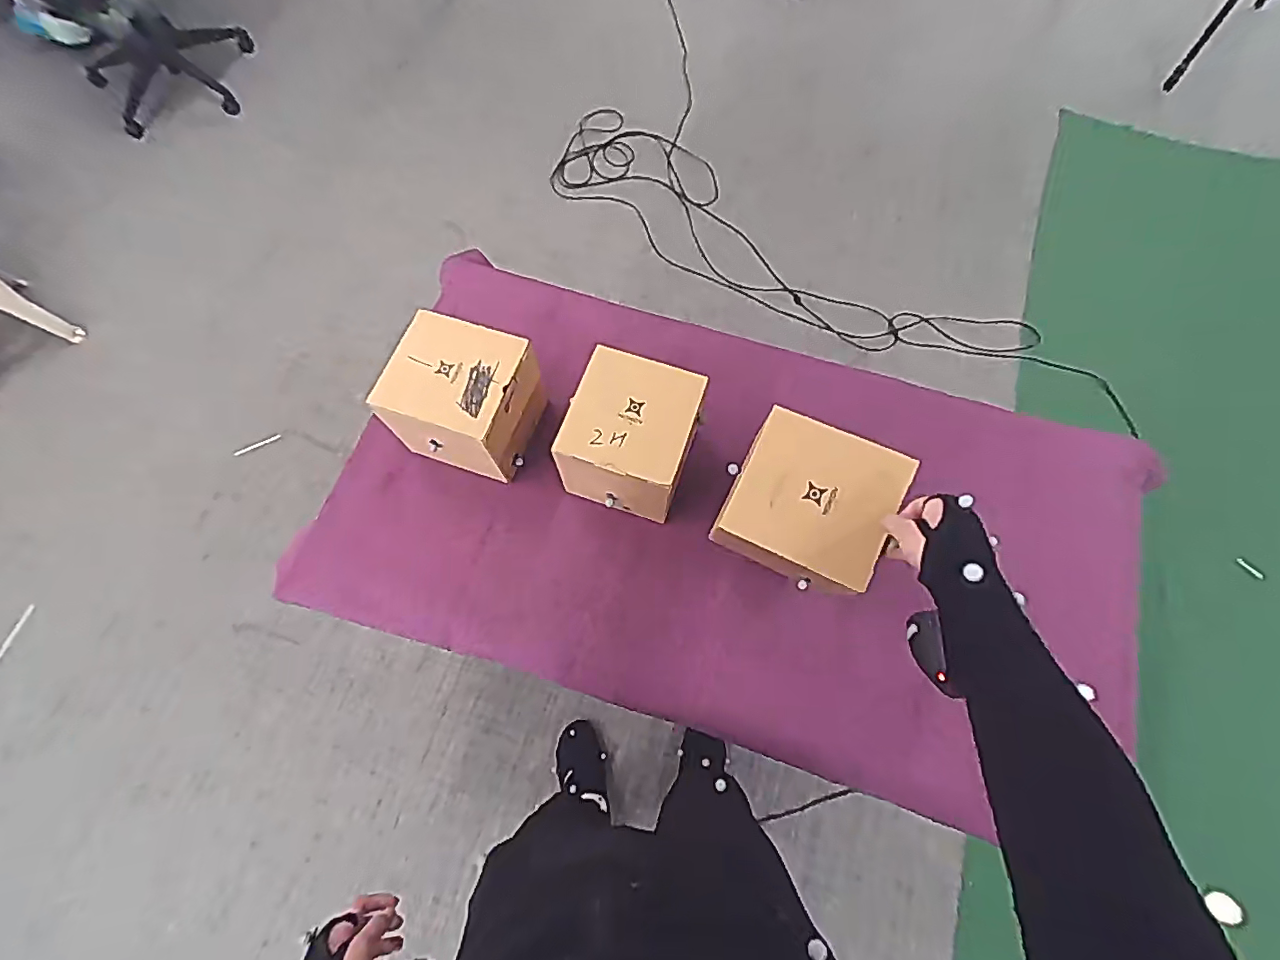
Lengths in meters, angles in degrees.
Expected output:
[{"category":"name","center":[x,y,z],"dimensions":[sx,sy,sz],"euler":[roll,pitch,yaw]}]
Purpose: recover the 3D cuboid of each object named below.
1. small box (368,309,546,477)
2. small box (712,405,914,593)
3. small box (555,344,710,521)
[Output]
[{"category":"small box","center":[-0.257,-0.120,0.812],"dimensions":[0.179,0.176,0.168],"euler":[18,71,7]},{"category":"small box","center":[0.208,0.031,0.700],"dimensions":[0.179,0.176,0.168],"euler":[26,82,8]},{"category":"small box","center":[-0.009,-0.062,0.793],"dimensions":[0.168,0.176,0.179],"euler":[19,71,6]}]
